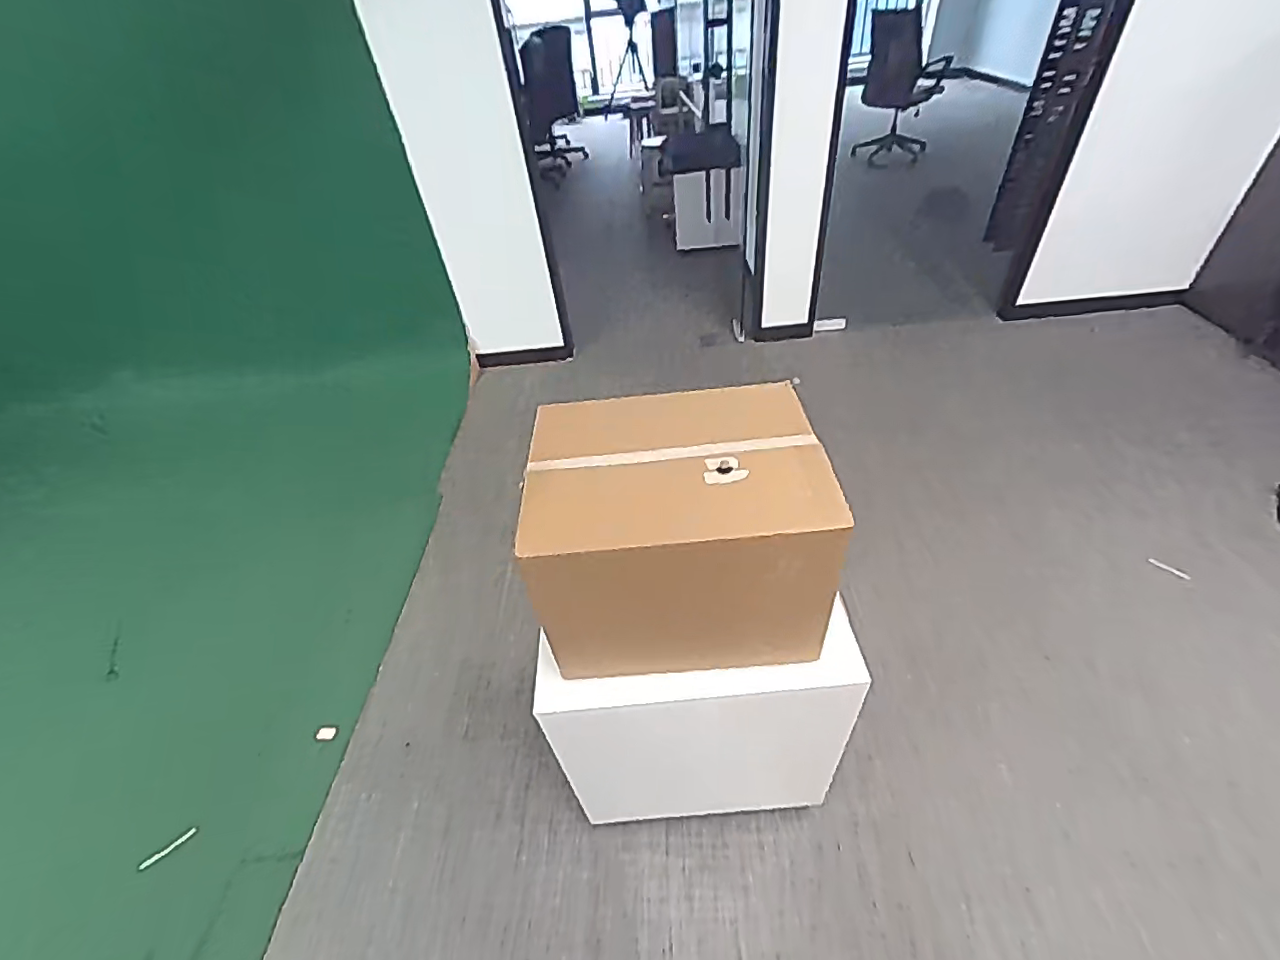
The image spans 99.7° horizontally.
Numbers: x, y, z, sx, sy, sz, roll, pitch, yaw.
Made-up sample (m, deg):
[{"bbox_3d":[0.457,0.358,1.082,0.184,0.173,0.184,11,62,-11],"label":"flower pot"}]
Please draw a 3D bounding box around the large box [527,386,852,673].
[{"bbox_3d":[0.060,0.078,0.855,0.408,0.320,0.320,-5,43,1],"label":"large box"}]
